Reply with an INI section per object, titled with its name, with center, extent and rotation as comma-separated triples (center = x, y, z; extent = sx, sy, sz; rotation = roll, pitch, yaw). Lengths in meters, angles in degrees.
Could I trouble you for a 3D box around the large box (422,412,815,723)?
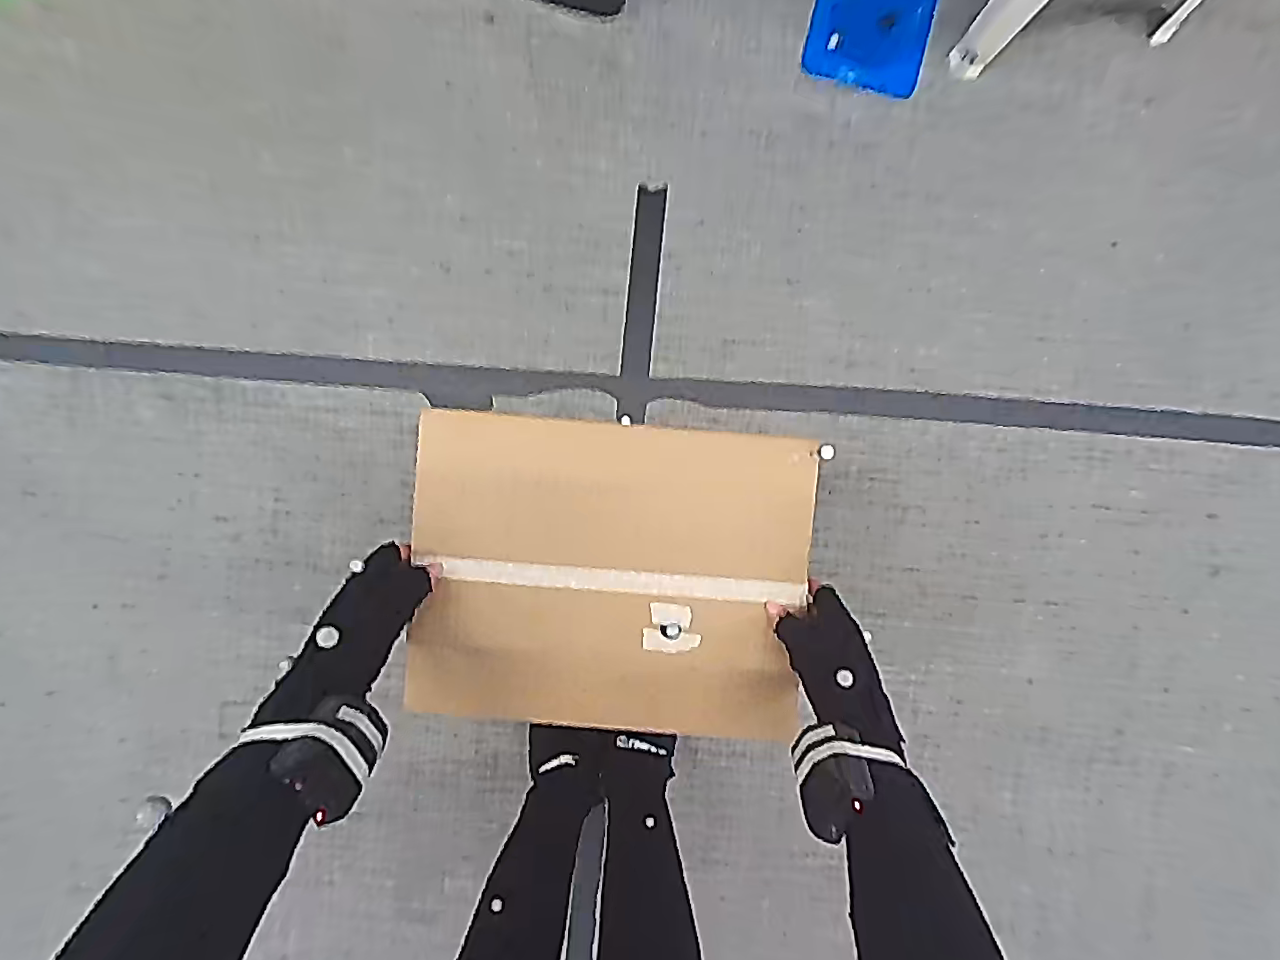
[large box]
center = -0.027, 0.090, 0.713
extent = 0.408, 0.320, 0.320
rotation = 4, 93, -1
